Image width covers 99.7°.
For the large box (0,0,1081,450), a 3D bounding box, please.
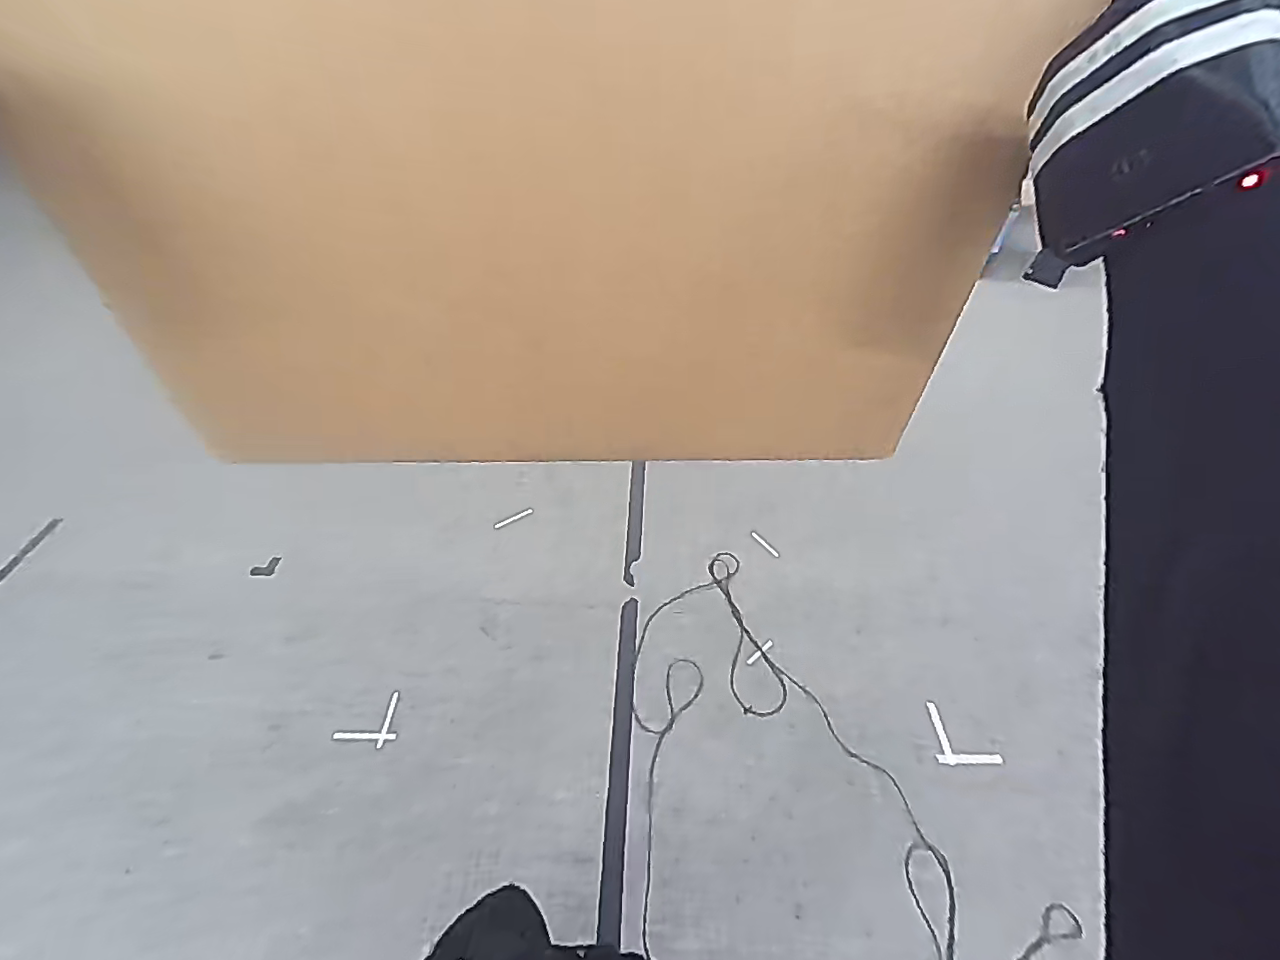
[{"bbox_3d":[-0.042,-0.230,0.344,0.408,0.320,0.320,0,44,-5],"label":"large box"}]
